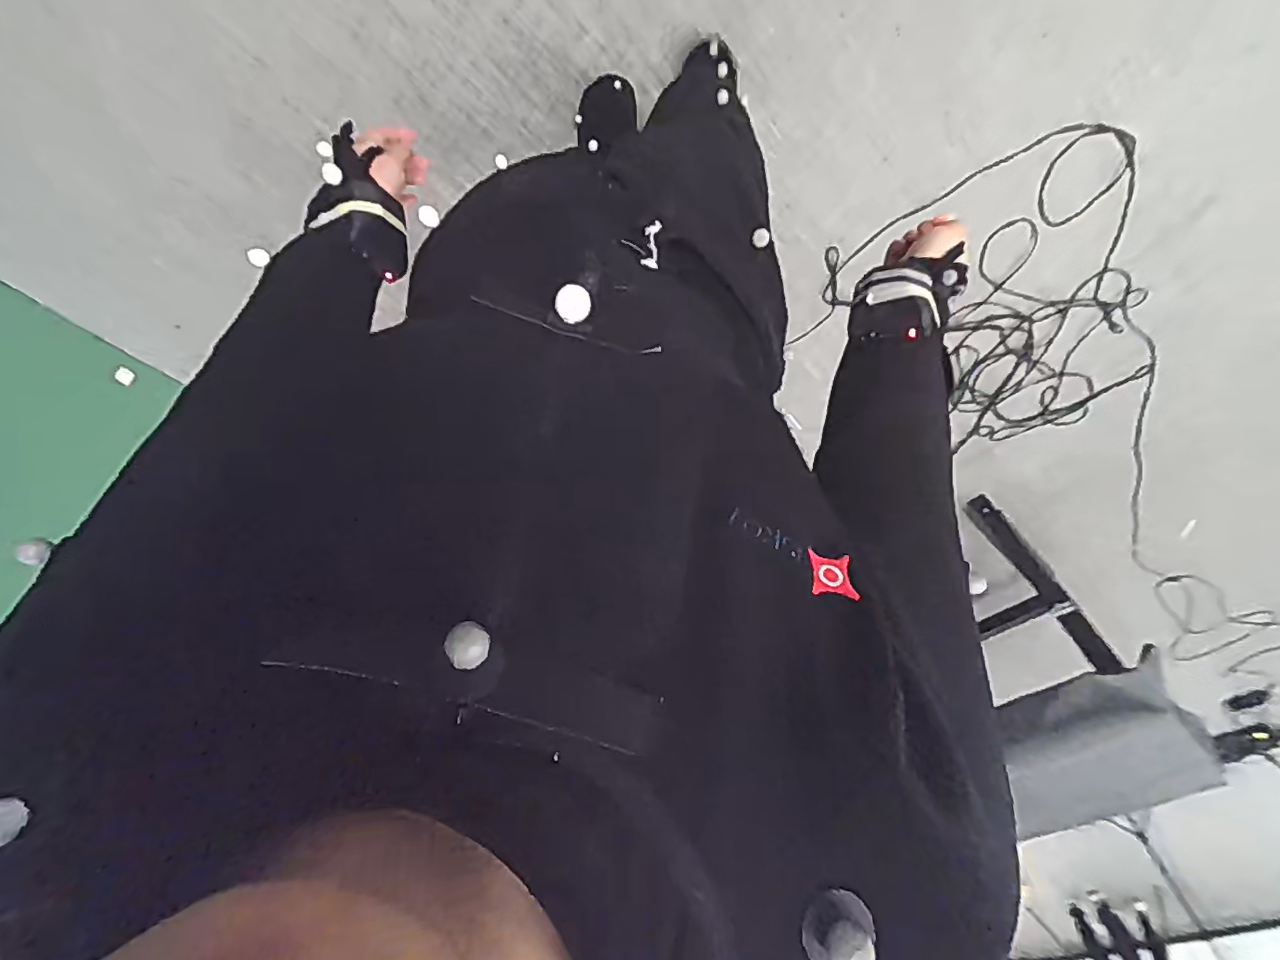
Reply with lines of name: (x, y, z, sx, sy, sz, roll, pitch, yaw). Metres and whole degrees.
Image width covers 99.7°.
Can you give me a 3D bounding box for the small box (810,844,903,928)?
small box: (0.642, 1.216, 1.623, 0.179, 0.176, 0.168, 28, 124, -26)
